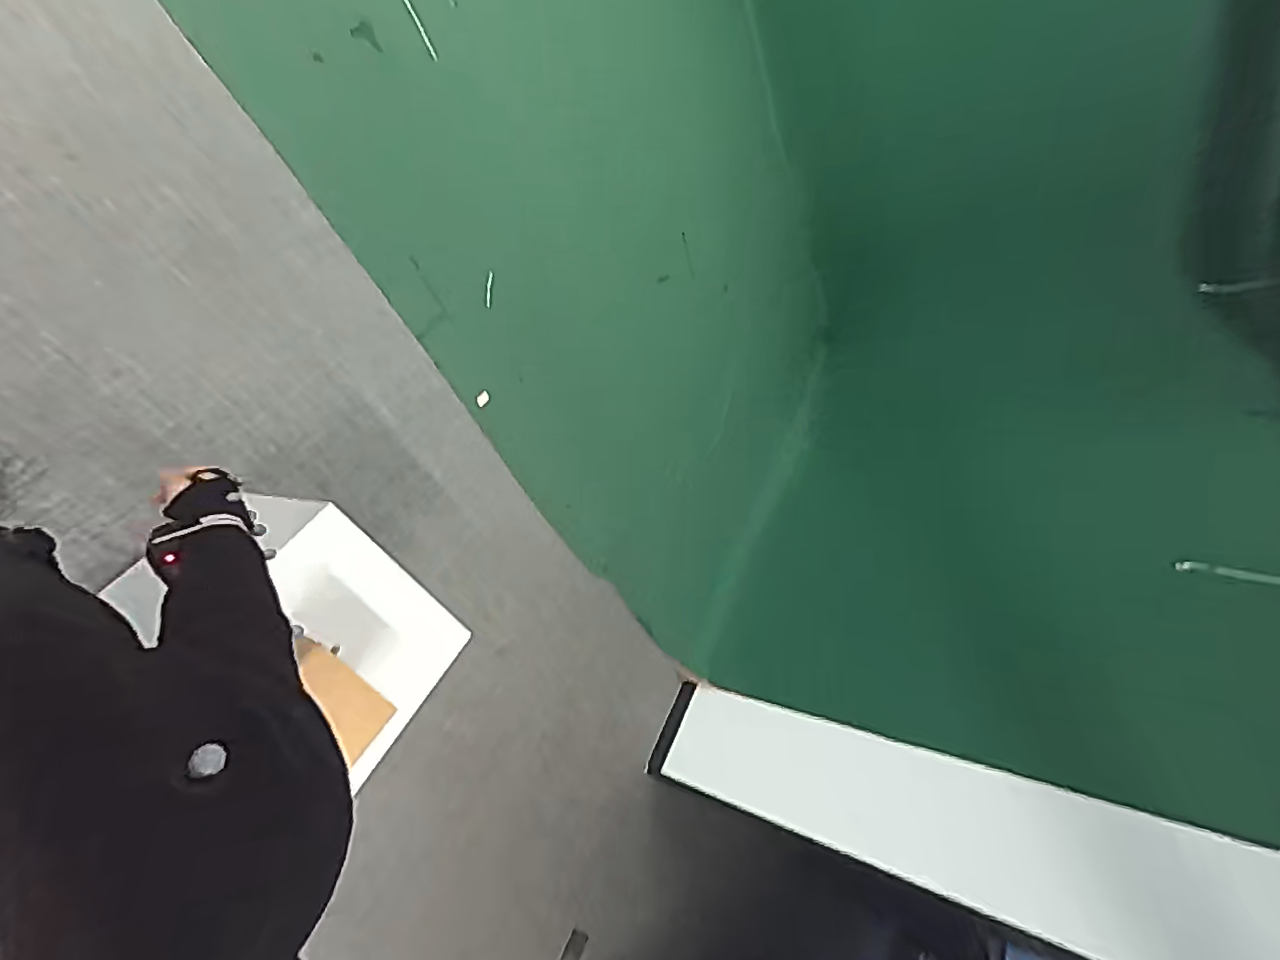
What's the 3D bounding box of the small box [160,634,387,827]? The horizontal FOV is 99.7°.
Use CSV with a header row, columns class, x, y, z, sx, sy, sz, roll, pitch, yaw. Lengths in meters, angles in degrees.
class,x,y,z,sx,sy,sz,roll,pitch,yaw
small box,-0.508,0.339,0.759,0.168,0.176,0.179,-55,132,-37
